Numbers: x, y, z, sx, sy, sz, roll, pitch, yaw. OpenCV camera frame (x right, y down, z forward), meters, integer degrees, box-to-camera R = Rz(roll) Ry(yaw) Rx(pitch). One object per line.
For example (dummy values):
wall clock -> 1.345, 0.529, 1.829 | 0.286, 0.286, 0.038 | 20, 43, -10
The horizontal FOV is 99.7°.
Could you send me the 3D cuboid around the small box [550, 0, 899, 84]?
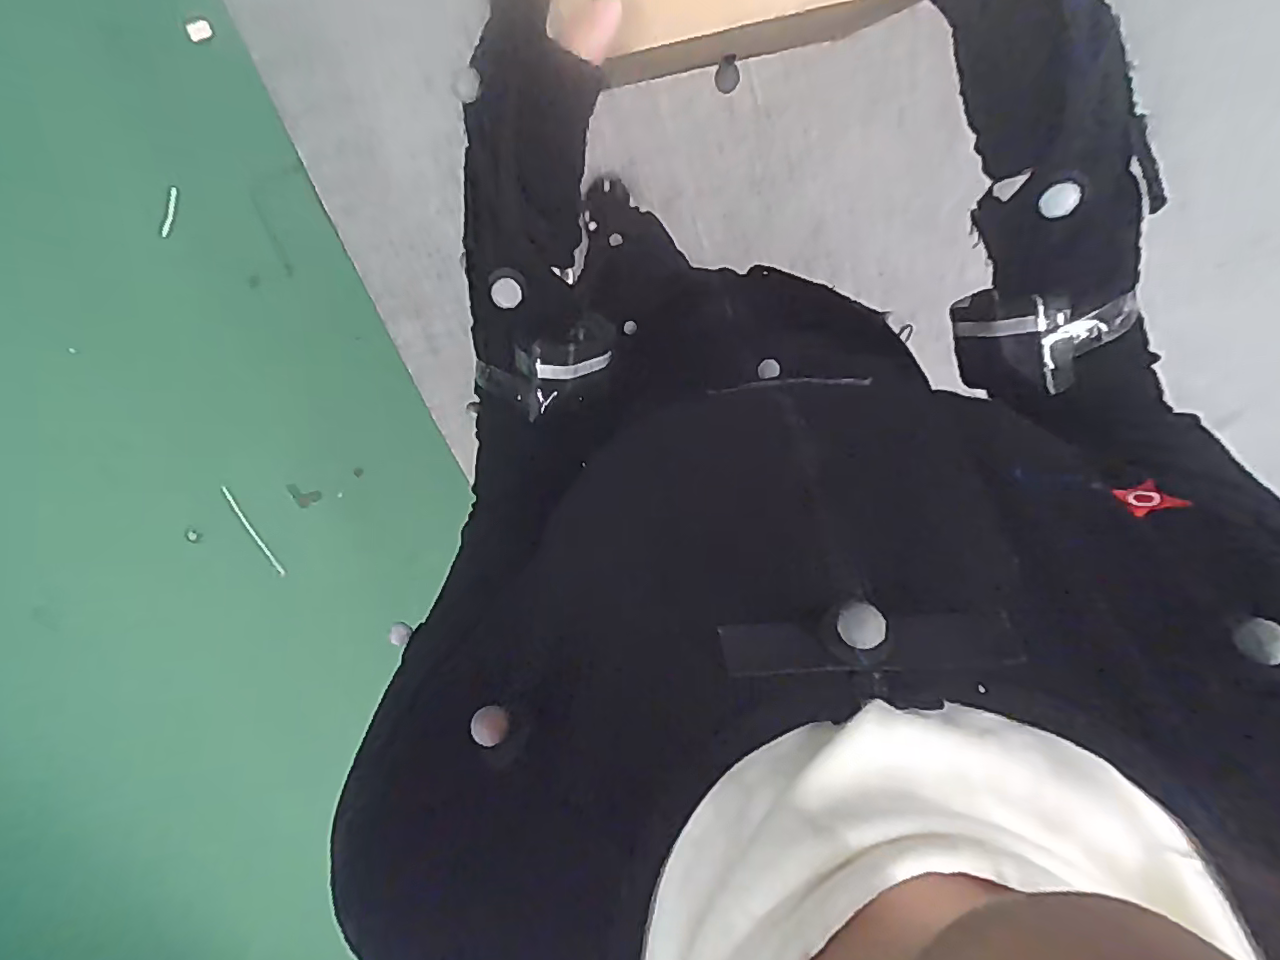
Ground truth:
small box -> 0.035, -0.312, 0.260 | 0.179, 0.176, 0.168 | -9, 121, 4
